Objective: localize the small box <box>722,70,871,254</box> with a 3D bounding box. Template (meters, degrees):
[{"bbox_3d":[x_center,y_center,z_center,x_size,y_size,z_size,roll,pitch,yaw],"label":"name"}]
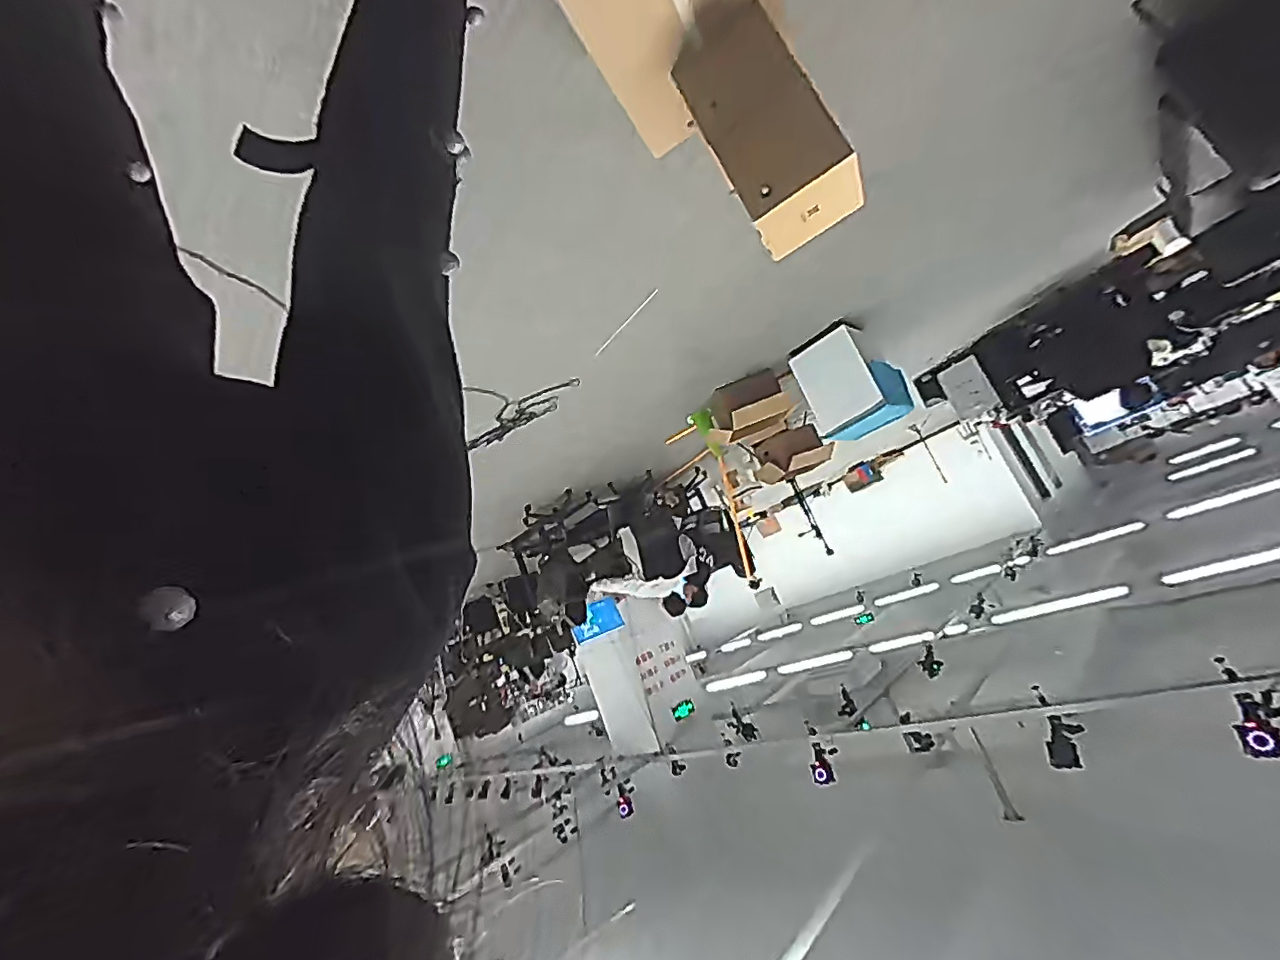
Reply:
[{"bbox_3d":[0.267,-0.532,0.919,0.179,0.176,0.168,-28,166,24],"label":"small box"}]
